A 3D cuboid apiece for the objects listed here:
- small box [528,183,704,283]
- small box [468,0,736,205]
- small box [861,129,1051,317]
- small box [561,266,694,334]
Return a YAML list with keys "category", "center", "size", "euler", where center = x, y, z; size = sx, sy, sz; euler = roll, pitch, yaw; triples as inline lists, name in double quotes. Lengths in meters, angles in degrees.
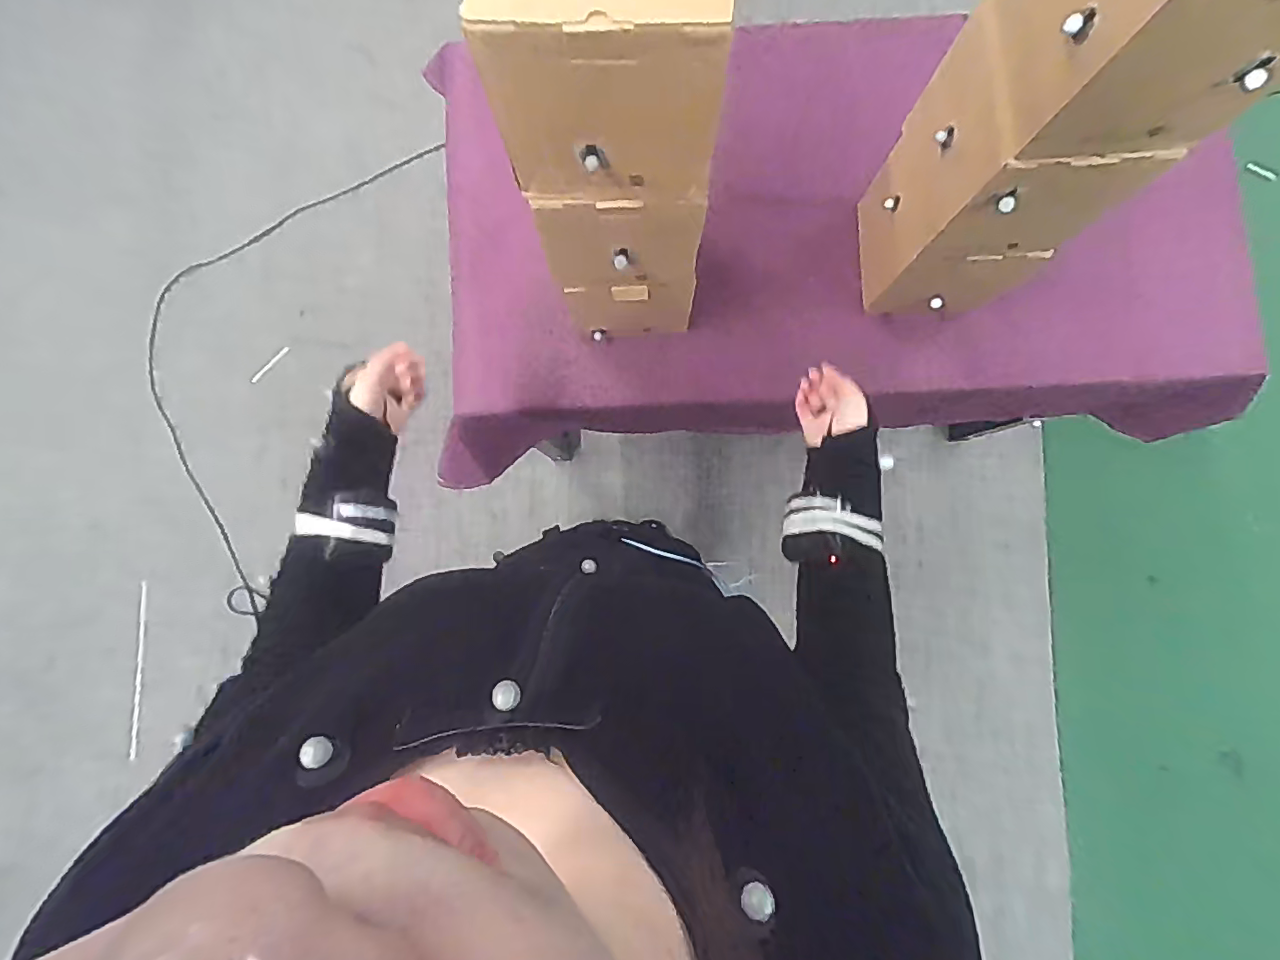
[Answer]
- category: "small box"
  center: [-0.021, -0.324, 0.579]
  size: [0.168, 0.176, 0.179]
  euler: [-1, 86, 0]
- category: "small box"
  center: [-0.022, -0.346, 0.416]
  size: [0.168, 0.176, 0.179]
  euler: [1, 85, 0]
- category: "small box"
  center: [0.416, -0.340, 0.740]
  size: [0.168, 0.176, 0.179]
  euler: [0, 85, 1]
- category: "small box"
  center: [-0.017, -0.309, 0.742]
  size: [0.168, 0.176, 0.179]
  euler: [-3, 84, 0]
